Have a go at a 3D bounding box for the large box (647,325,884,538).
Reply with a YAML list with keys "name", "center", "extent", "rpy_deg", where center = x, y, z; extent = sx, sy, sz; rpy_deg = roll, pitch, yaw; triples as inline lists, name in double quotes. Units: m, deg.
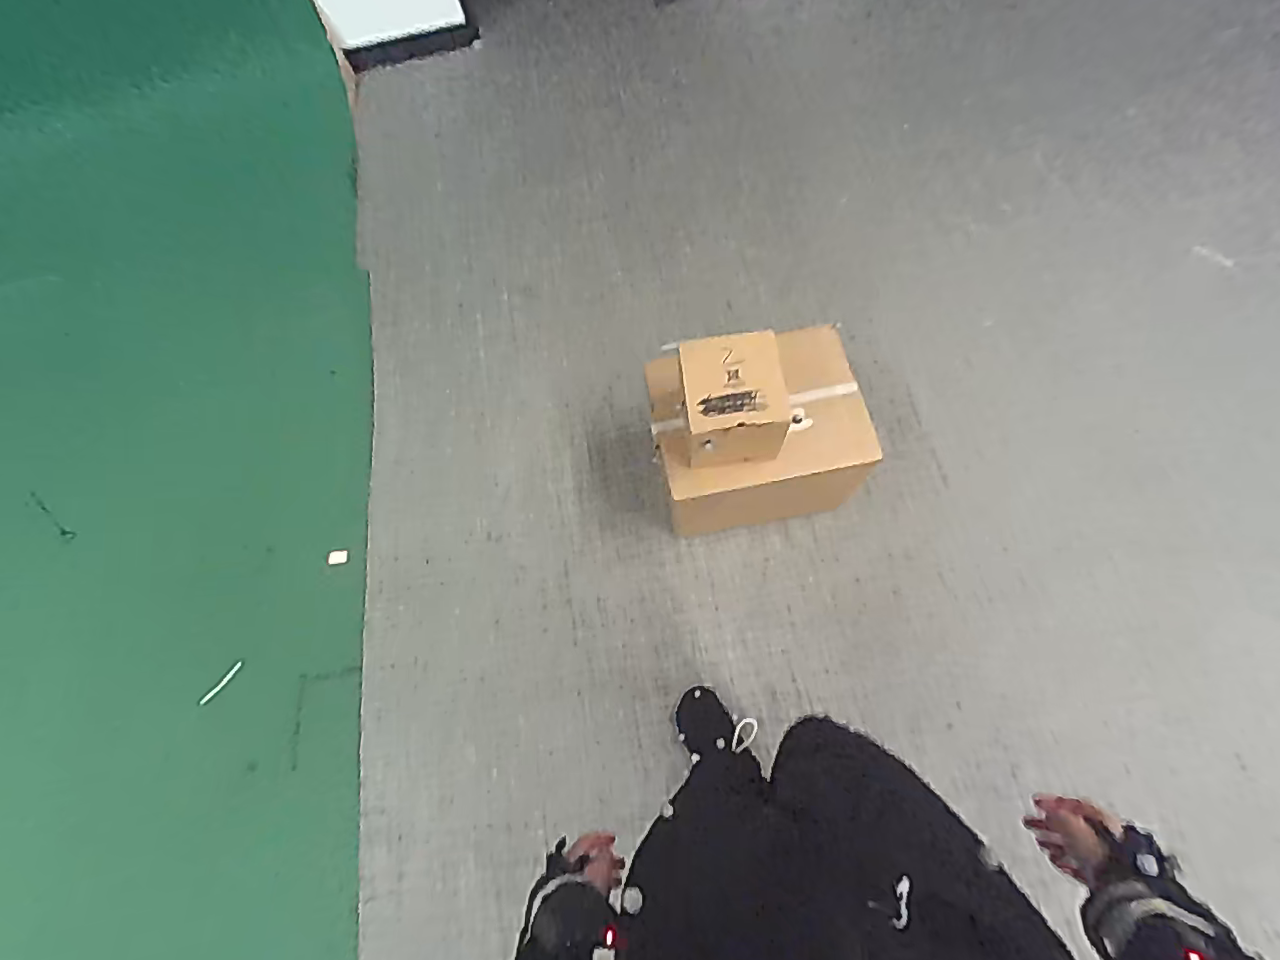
- name: "large box"
  center: [0.245, -0.089, 1.198]
  extent: [0.408, 0.320, 0.320]
  rpy_deg: [-11, 70, 0]
